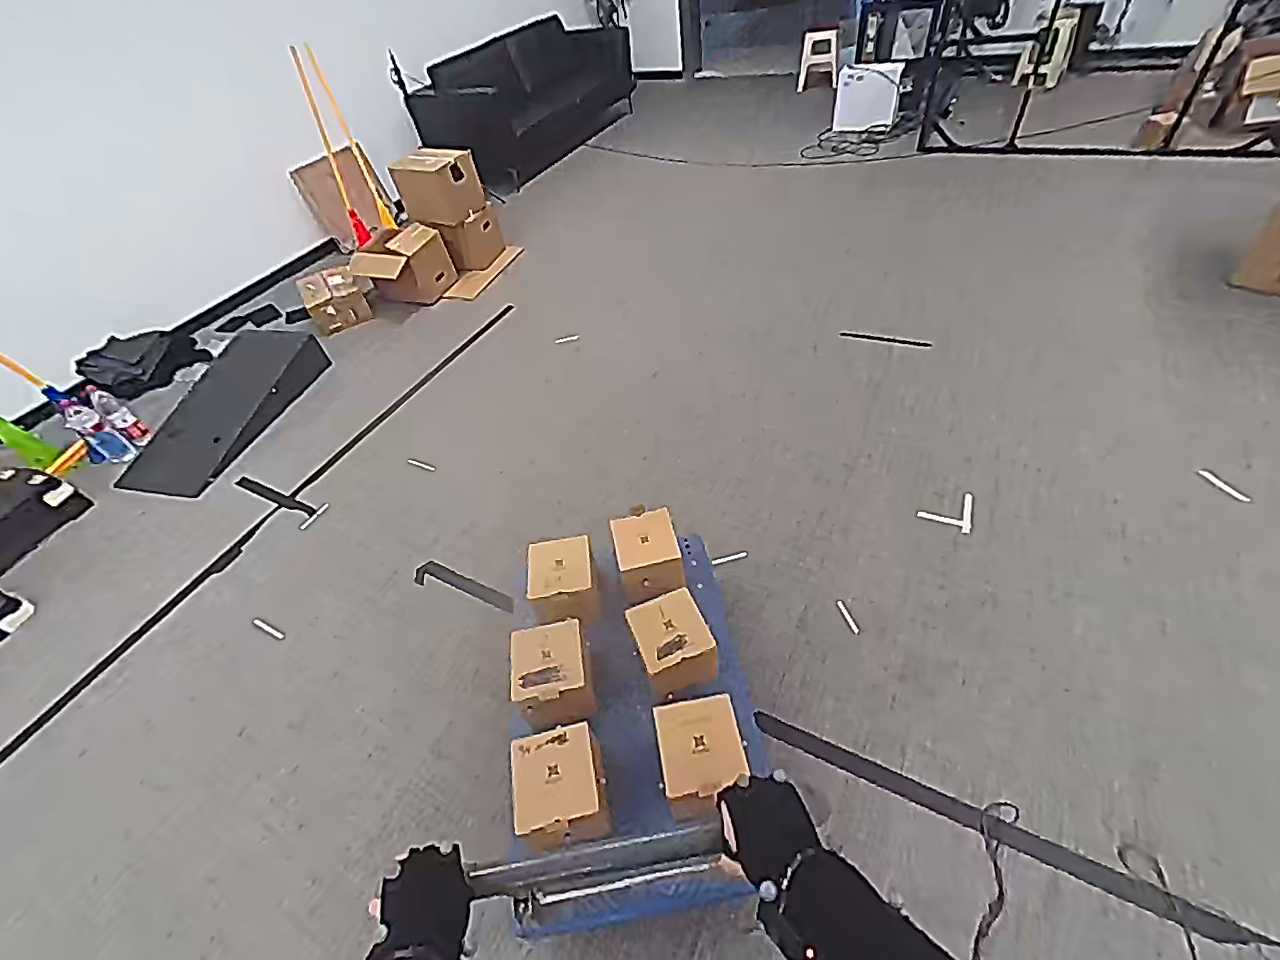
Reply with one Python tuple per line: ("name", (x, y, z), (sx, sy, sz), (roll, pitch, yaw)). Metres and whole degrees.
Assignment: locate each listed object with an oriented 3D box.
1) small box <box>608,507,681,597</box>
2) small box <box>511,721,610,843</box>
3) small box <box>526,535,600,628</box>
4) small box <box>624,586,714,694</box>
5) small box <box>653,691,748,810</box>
("small box", (0.015, 0.209, 1.511), (0.168, 0.176, 0.179), (-13, 46, -3))
("small box", (-0.165, 0.638, 1.134), (0.168, 0.176, 0.179), (-13, 47, -5))
("small box", (-0.207, 0.278, 1.478), (0.168, 0.176, 0.179), (-10, 47, 0))
("small box", (0.074, 0.398, 1.323), (0.168, 0.176, 0.179), (-20, 47, -10))
("small box", (0.128, 0.579, 1.147), (0.168, 0.176, 0.179), (-10, 46, -2))
